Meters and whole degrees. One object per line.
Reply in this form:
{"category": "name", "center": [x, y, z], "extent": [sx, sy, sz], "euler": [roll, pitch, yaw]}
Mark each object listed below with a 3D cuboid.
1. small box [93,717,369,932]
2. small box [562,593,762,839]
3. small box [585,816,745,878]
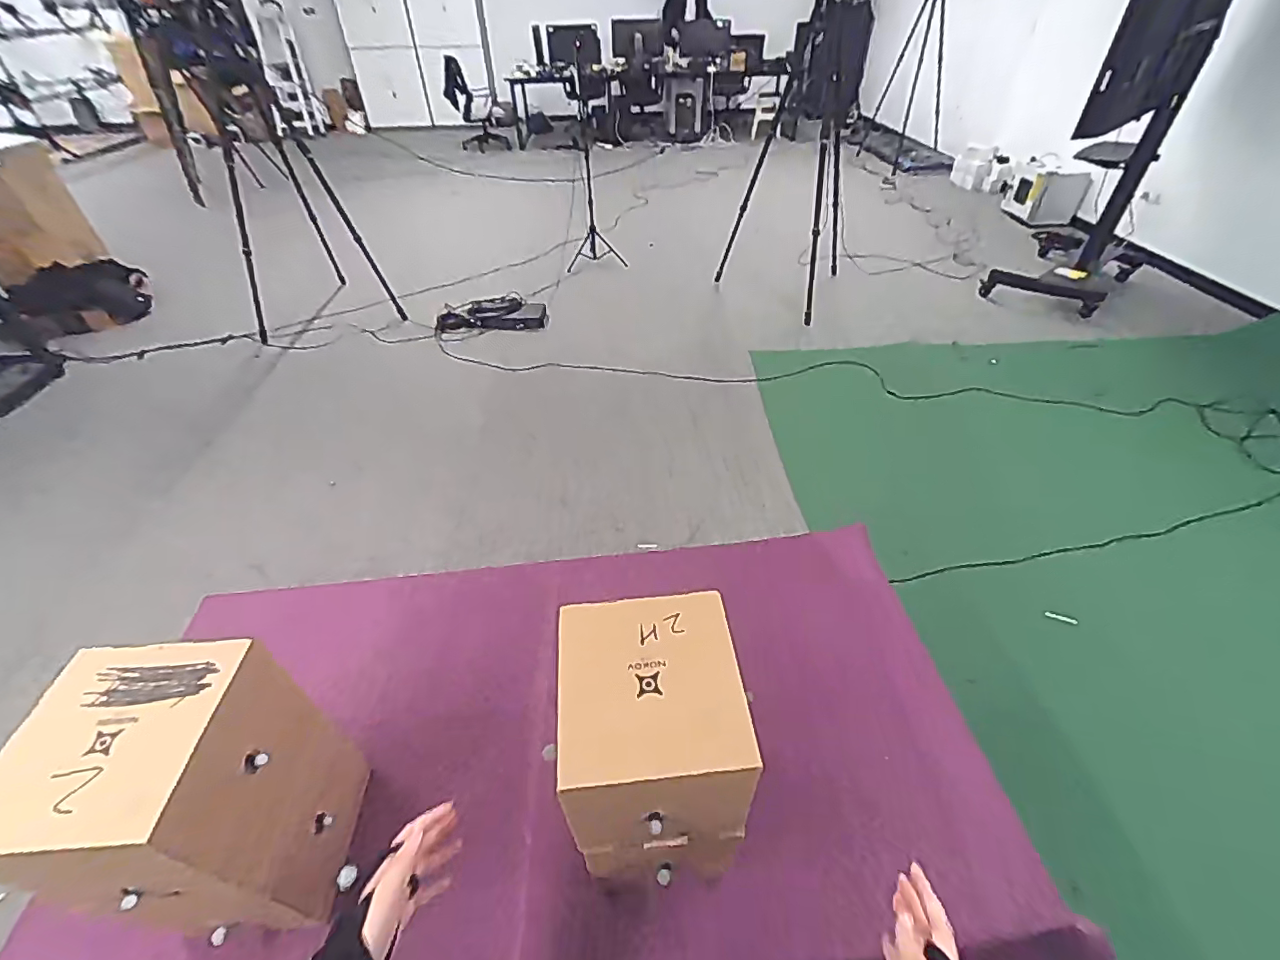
{"category": "small box", "center": [-0.443, 0.400, 0.630], "extent": [0.168, 0.176, 0.179], "euler": [-2, 44, -1]}
{"category": "small box", "center": [0.015, 0.239, 0.544], "extent": [0.168, 0.176, 0.179], "euler": [-4, 42, -3]}
{"category": "small box", "center": [0.023, 0.361, 0.656], "extent": [0.168, 0.176, 0.179], "euler": [-4, 43, -3]}
